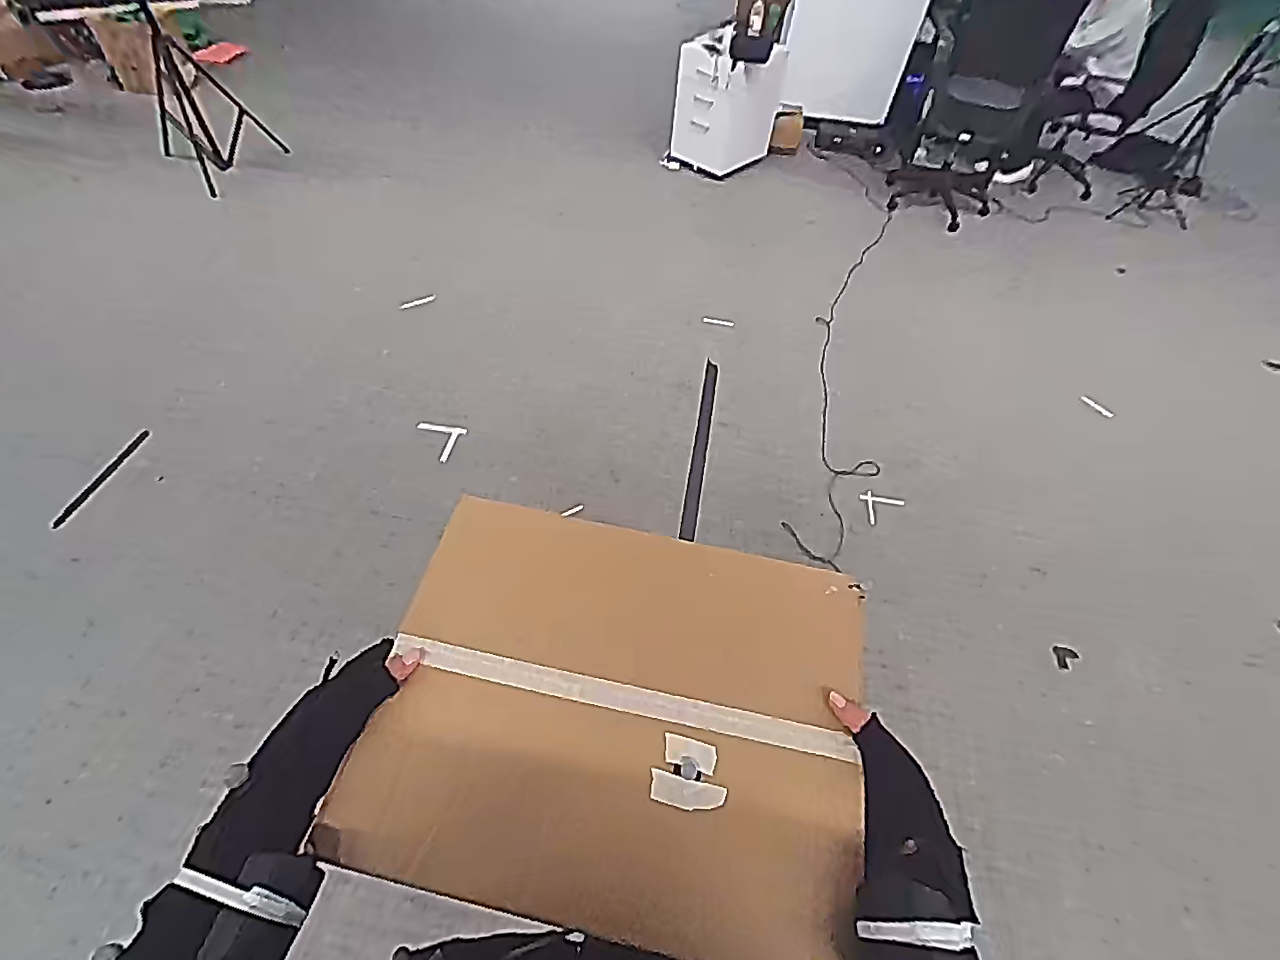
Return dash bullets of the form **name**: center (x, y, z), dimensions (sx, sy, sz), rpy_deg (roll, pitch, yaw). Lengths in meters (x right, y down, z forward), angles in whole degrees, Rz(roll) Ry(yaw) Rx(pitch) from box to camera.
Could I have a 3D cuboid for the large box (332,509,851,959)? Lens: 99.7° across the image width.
- **large box**: center (-0.023, 0.270, 0.603), dimensions (0.408, 0.320, 0.320), rpy_deg (12, 58, 4)
